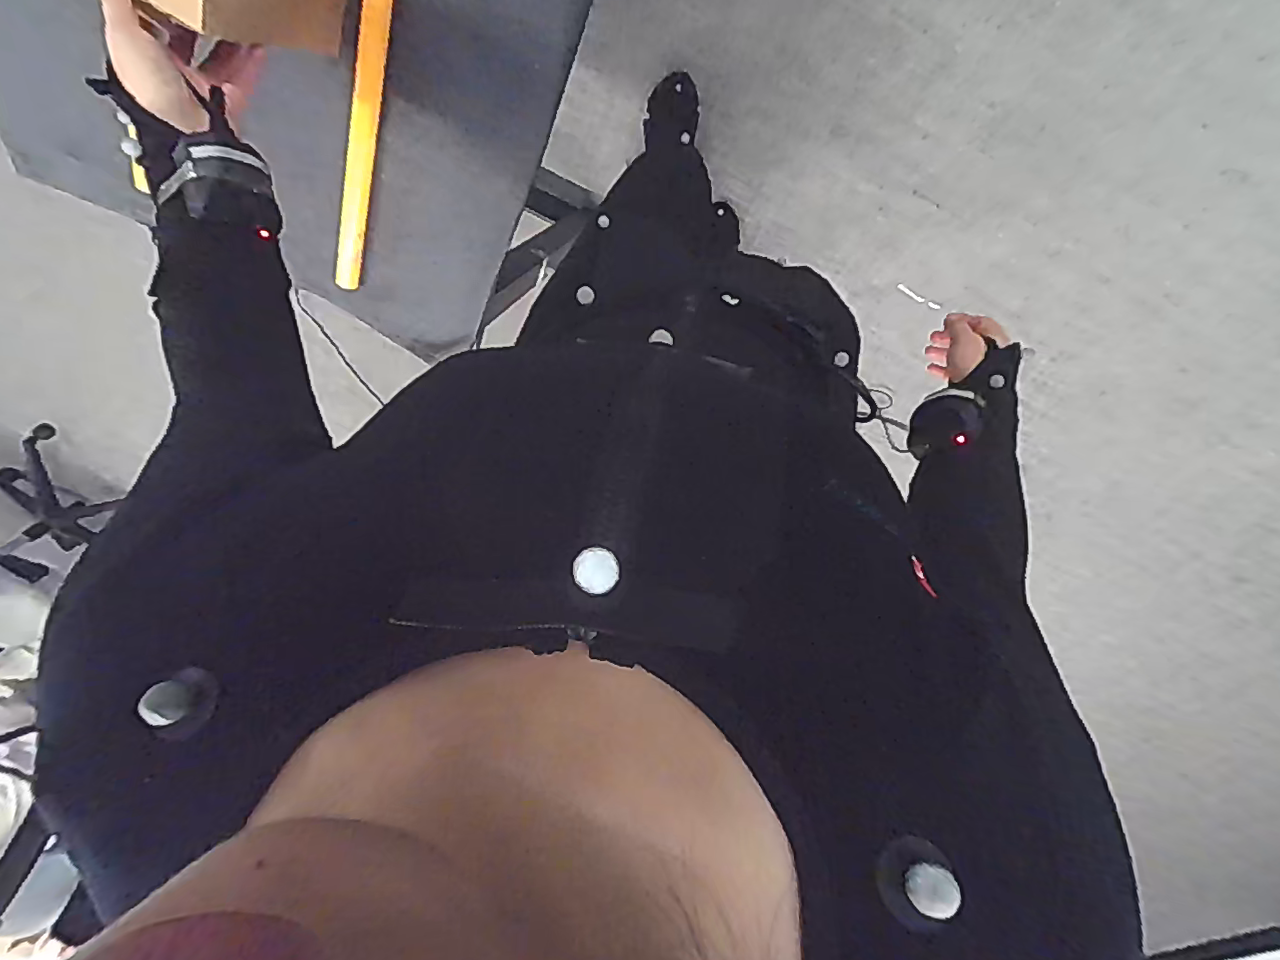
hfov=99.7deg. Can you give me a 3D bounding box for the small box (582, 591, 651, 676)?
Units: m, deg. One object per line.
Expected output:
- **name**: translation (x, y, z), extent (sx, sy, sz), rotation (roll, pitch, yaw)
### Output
- **small box**: translation (-0.071, 0.484, 1.725), extent (0.168, 0.176, 0.179), rotation (21, 126, -4)

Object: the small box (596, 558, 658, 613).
- **small box**: translation (-0.045, 0.399, 1.864), extent (0.168, 0.176, 0.179), rotation (22, 126, -5)

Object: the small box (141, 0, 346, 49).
- **small box**: translation (-0.349, -0.481, 0.425), extent (0.168, 0.176, 0.179), rotation (27, 124, -8)
